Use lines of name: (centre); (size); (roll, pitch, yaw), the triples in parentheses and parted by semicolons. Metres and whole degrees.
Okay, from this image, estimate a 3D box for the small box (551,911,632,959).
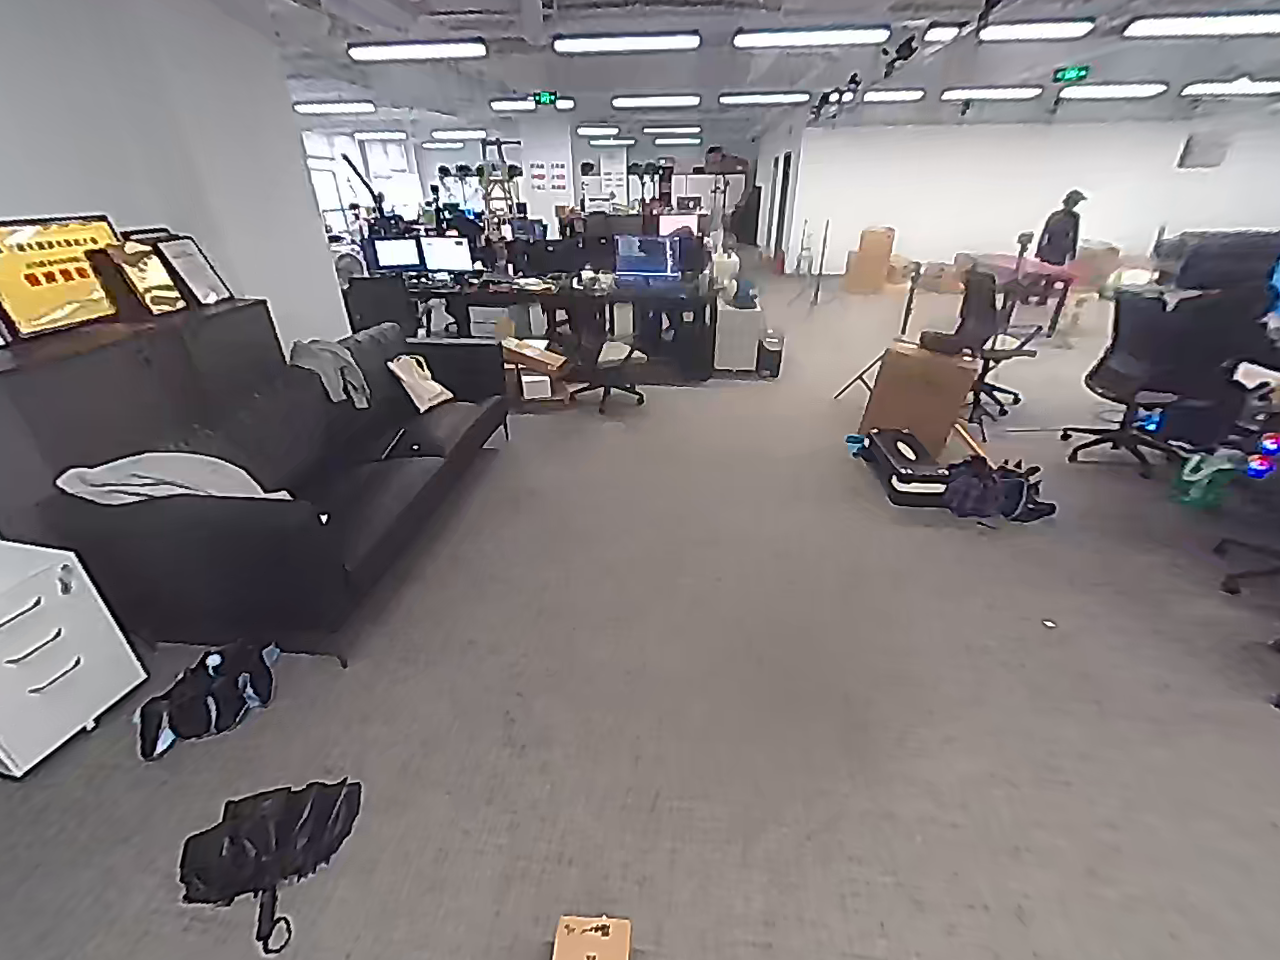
small box: (-0.106, 1.090, 1.184); (0.168, 0.176, 0.179); (1, 31, 3)
